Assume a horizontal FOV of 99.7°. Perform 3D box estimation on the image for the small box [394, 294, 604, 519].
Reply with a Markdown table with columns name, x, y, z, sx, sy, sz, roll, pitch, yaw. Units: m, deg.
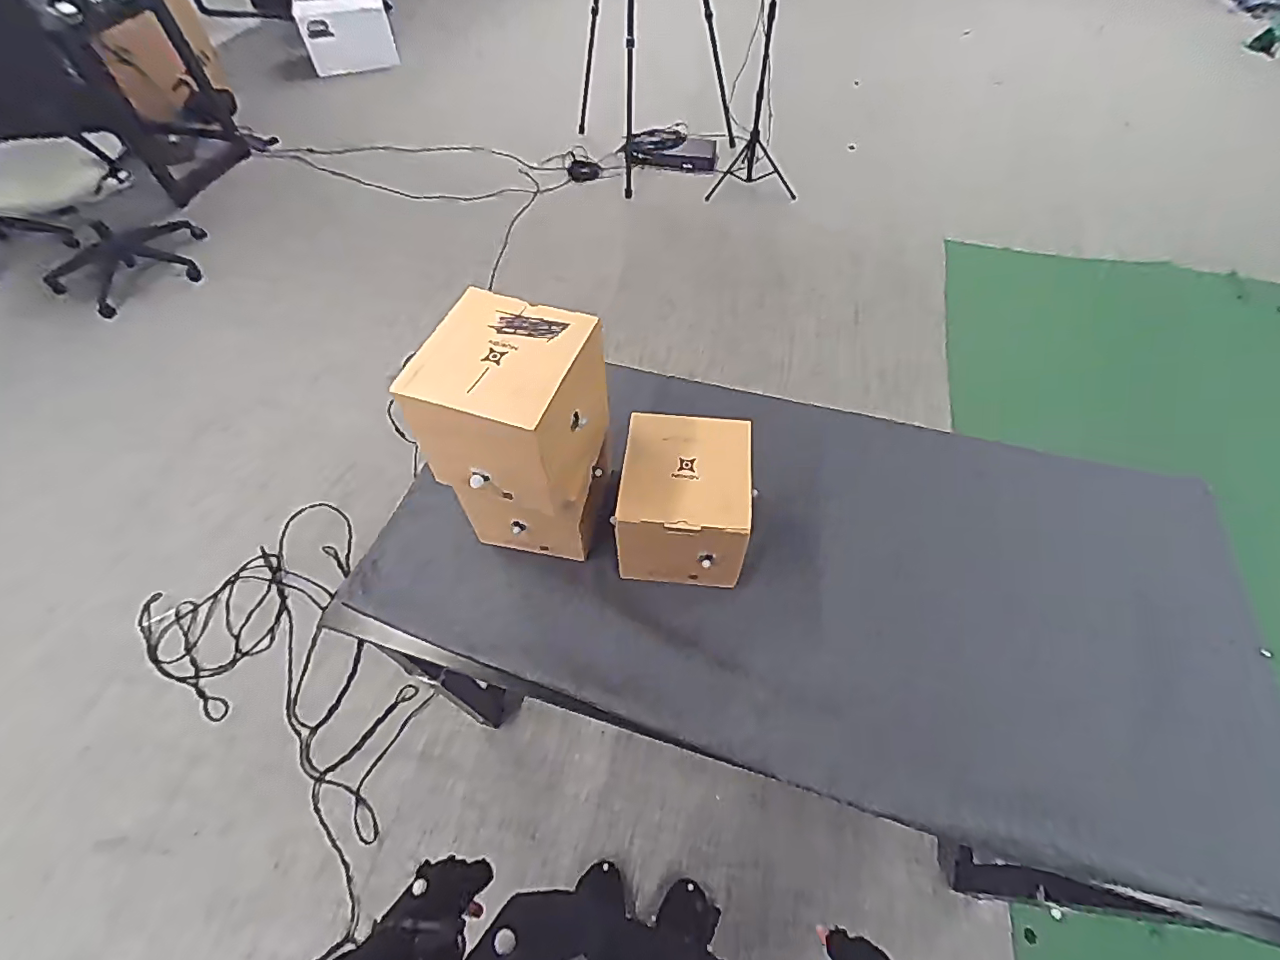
| name | x | y | z | sx | sy | sz | roll | pitch | yaw |
| --- | --- | --- | --- | --- | --- | --- | --- | --- | --- |
| small box | -0.147 | -0.084 | 0.642 | 0.168 | 0.176 | 0.179 | 16 | 57 | 11 |

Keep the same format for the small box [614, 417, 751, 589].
| name | x | y | z | sx | sy | sz | roll | pitch | yaw |
| --- | --- | --- | --- | --- | --- | --- | --- | --- | --- |
| small box | 0.060 | 0.037 | 0.756 | 0.168 | 0.176 | 0.179 | 5 | 55 | 3 |
